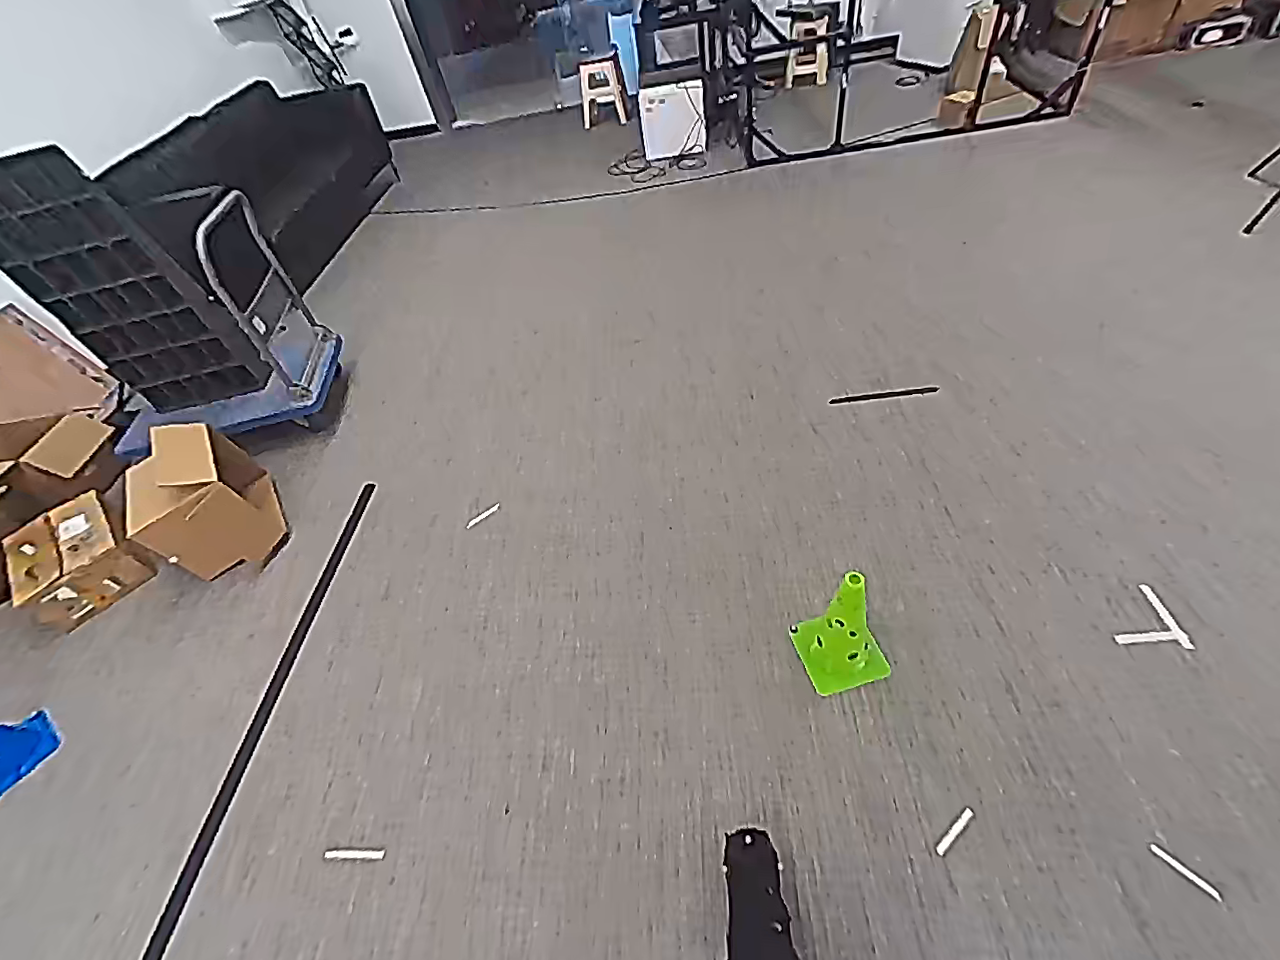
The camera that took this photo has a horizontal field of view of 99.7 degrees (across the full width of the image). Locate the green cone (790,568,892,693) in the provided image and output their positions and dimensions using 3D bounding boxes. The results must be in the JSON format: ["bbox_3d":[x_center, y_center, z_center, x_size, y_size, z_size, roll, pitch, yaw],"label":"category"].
[{"bbox_3d":[0.495,0.328,1.284,0.202,0.368,0.200,-16,48,-4],"label":"green cone"}]
